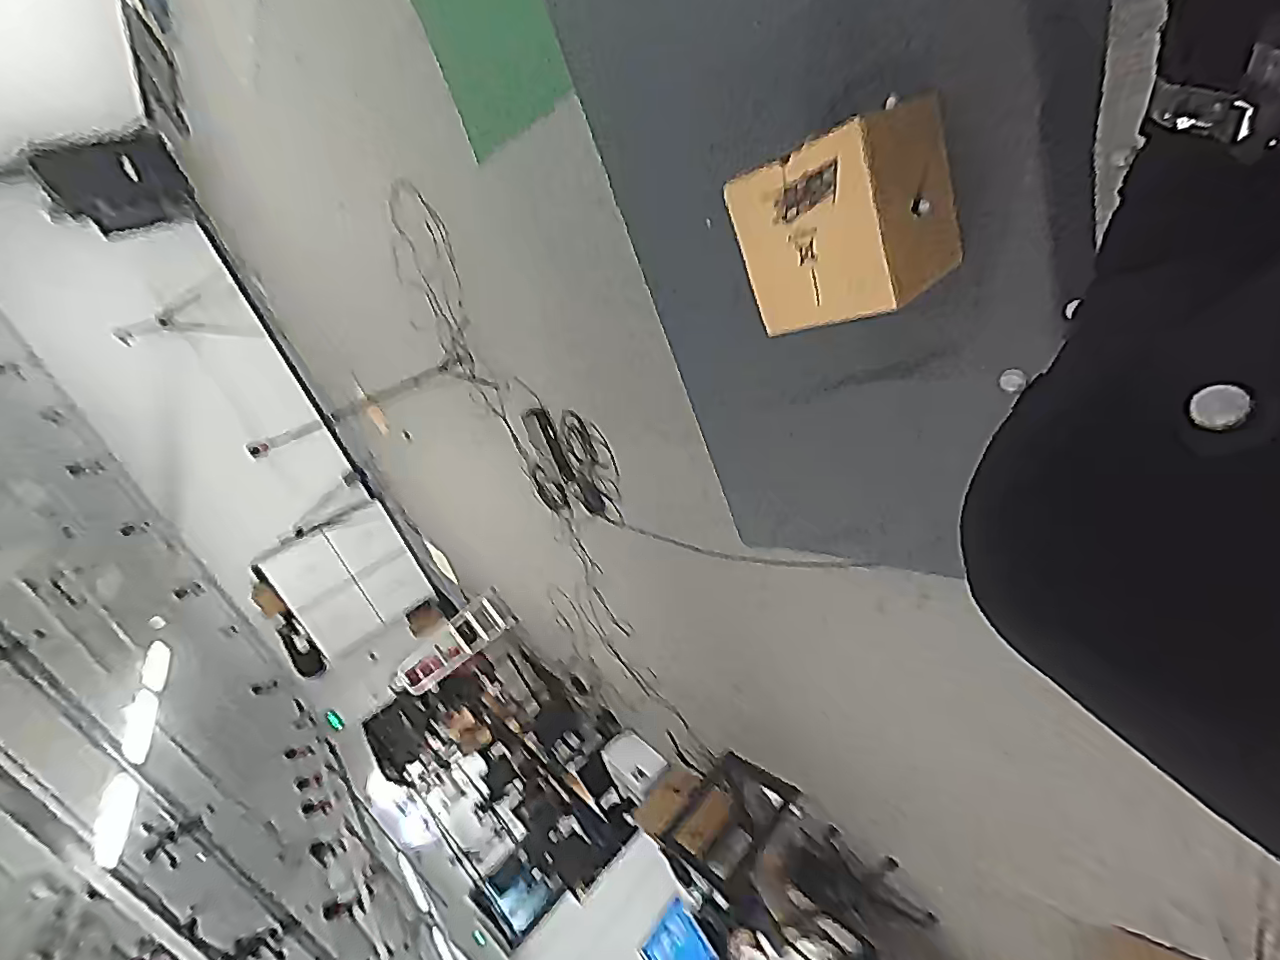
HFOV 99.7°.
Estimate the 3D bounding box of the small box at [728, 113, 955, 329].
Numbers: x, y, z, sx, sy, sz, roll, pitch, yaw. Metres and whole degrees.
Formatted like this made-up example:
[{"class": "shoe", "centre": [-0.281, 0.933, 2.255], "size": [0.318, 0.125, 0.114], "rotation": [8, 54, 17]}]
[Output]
[{"class": "small box", "centre": [0.234, -0.293, 0.620], "size": [0.168, 0.176, 0.179], "rotation": [11, 128, 52]}]
